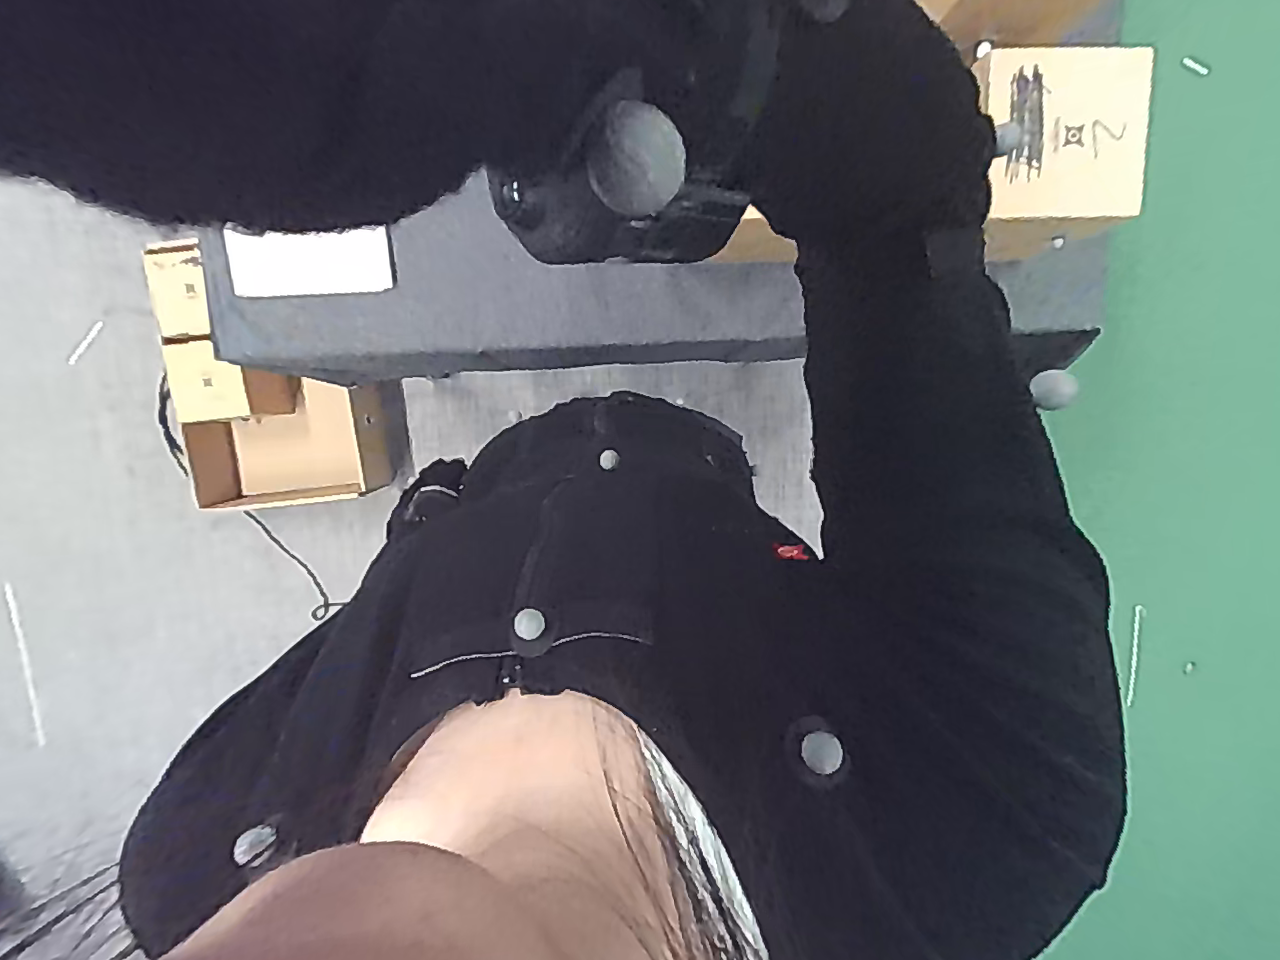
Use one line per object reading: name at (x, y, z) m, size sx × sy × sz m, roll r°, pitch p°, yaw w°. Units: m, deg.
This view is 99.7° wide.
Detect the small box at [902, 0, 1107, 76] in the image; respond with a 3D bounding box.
small box at (0.420, -0.606, 0.613) m, size 0.168 × 0.176 × 0.179 m, roll 0°, pitch 98°, yaw -2°

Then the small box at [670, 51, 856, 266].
small box at (0.131, -0.358, 0.632) m, size 0.179 × 0.176 × 0.168 m, roll -2°, pitch 96°, yaw -1°
